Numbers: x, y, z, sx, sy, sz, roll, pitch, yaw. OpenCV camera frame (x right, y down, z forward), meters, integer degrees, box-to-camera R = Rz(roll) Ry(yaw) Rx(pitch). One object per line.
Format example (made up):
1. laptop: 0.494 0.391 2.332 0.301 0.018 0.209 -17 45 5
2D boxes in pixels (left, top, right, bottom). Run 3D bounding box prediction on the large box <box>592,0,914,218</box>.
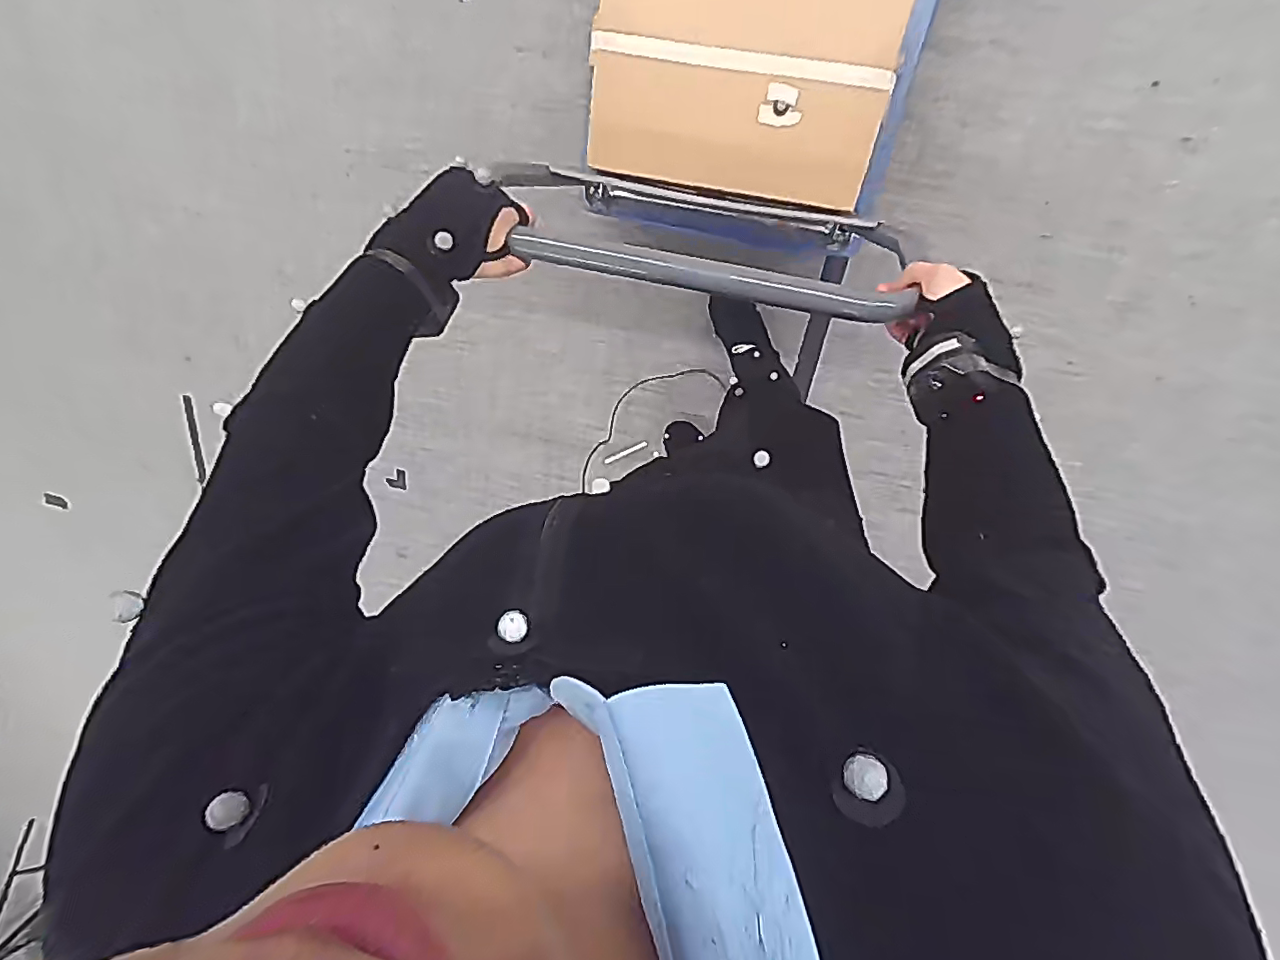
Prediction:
1. large box: 0.162 -0.624 0.875 0.408 0.320 0.320 12 117 4
